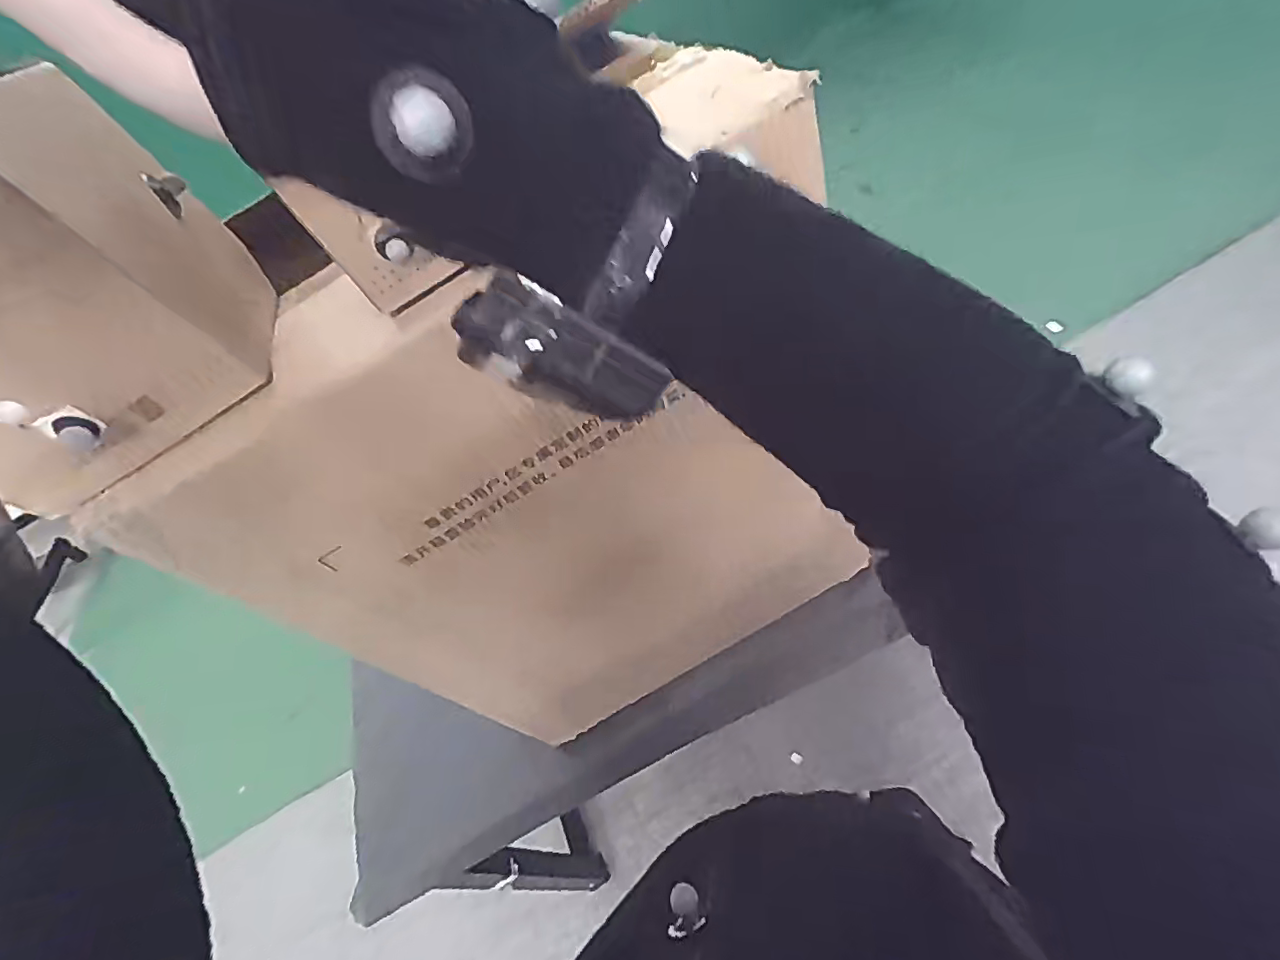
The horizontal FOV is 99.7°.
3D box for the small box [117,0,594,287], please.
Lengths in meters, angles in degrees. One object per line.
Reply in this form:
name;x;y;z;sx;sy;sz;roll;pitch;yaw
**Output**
small box;-0.151;-0.248;0.329;0.168;0.176;0.179;-33;48;-2
